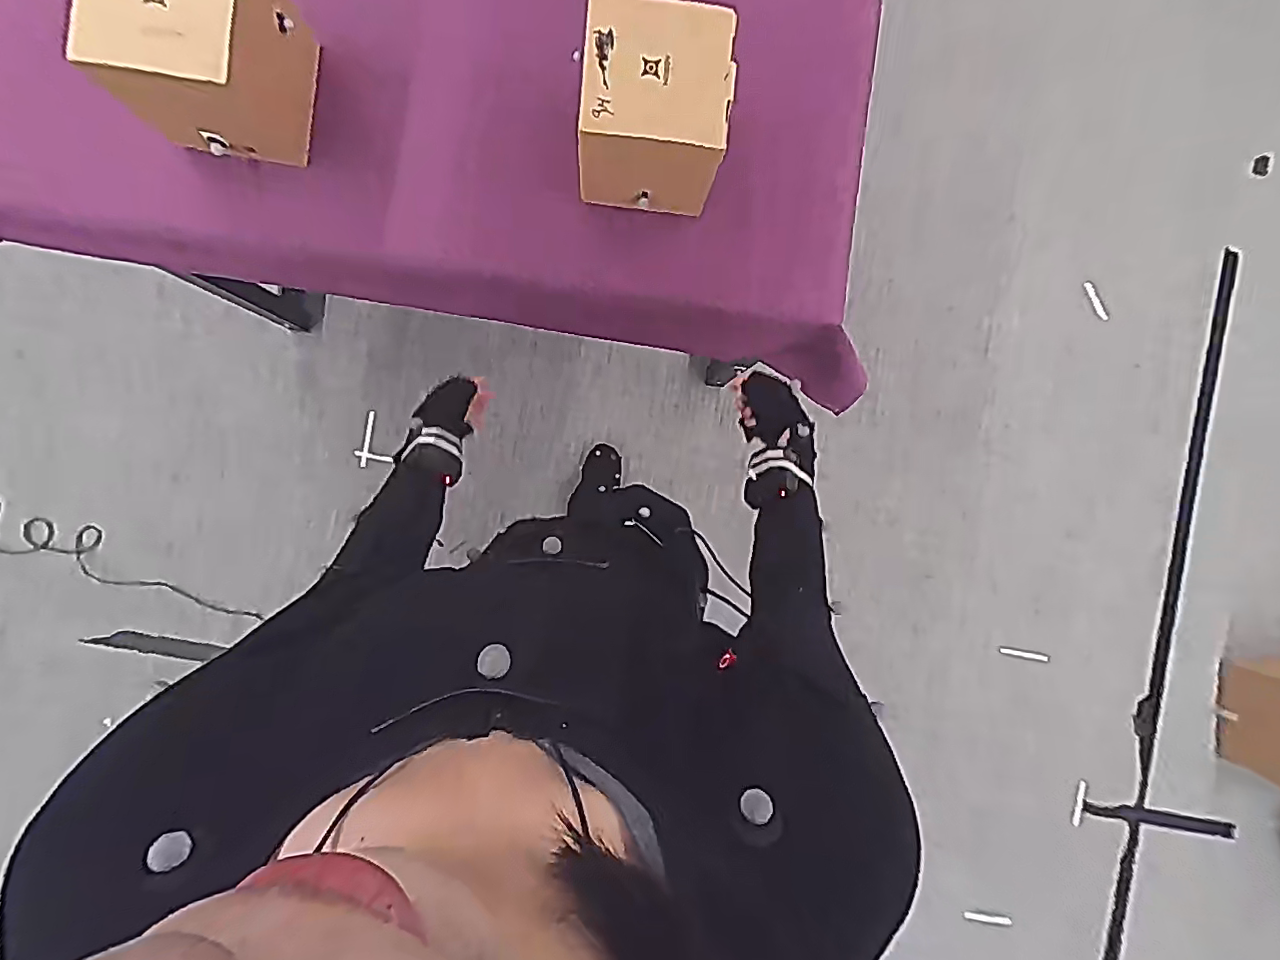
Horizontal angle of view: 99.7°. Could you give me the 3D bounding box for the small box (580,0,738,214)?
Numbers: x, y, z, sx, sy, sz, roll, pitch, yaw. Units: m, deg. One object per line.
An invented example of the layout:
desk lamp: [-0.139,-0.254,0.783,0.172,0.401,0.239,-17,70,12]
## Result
small box: [0.016,-0.473,0.709,0.179,0.176,0.168,5,89,-5]

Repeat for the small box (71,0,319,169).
small box: [-0.523,-0.524,0.663,0.168,0.176,0.179,6,90,-4]
